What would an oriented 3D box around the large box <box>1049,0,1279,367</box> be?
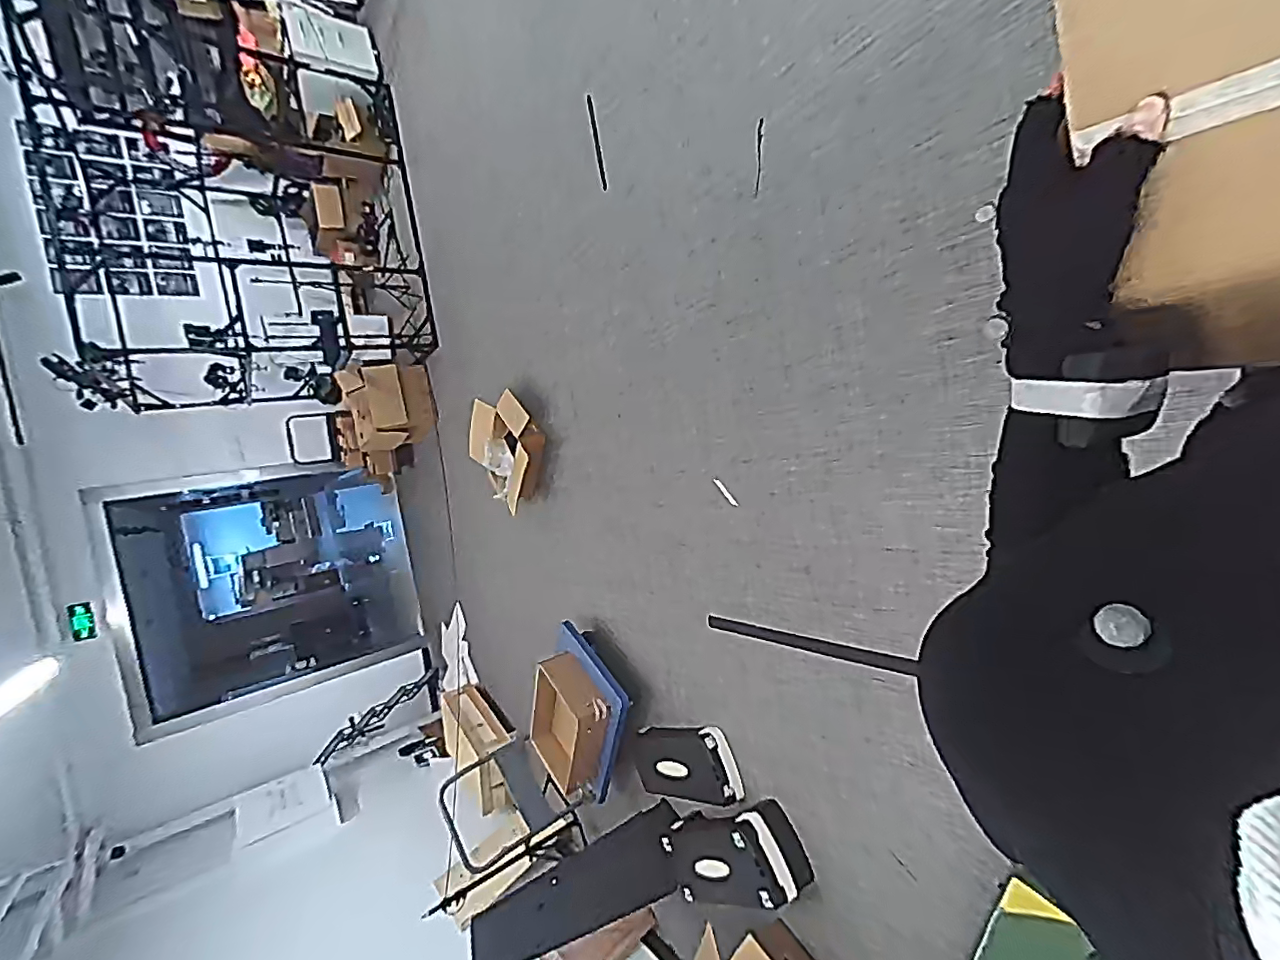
[{"bbox_3d":[0.478,-0.279,0.235,0.408,0.320,0.320,7,135,54],"label":"large box"}]
